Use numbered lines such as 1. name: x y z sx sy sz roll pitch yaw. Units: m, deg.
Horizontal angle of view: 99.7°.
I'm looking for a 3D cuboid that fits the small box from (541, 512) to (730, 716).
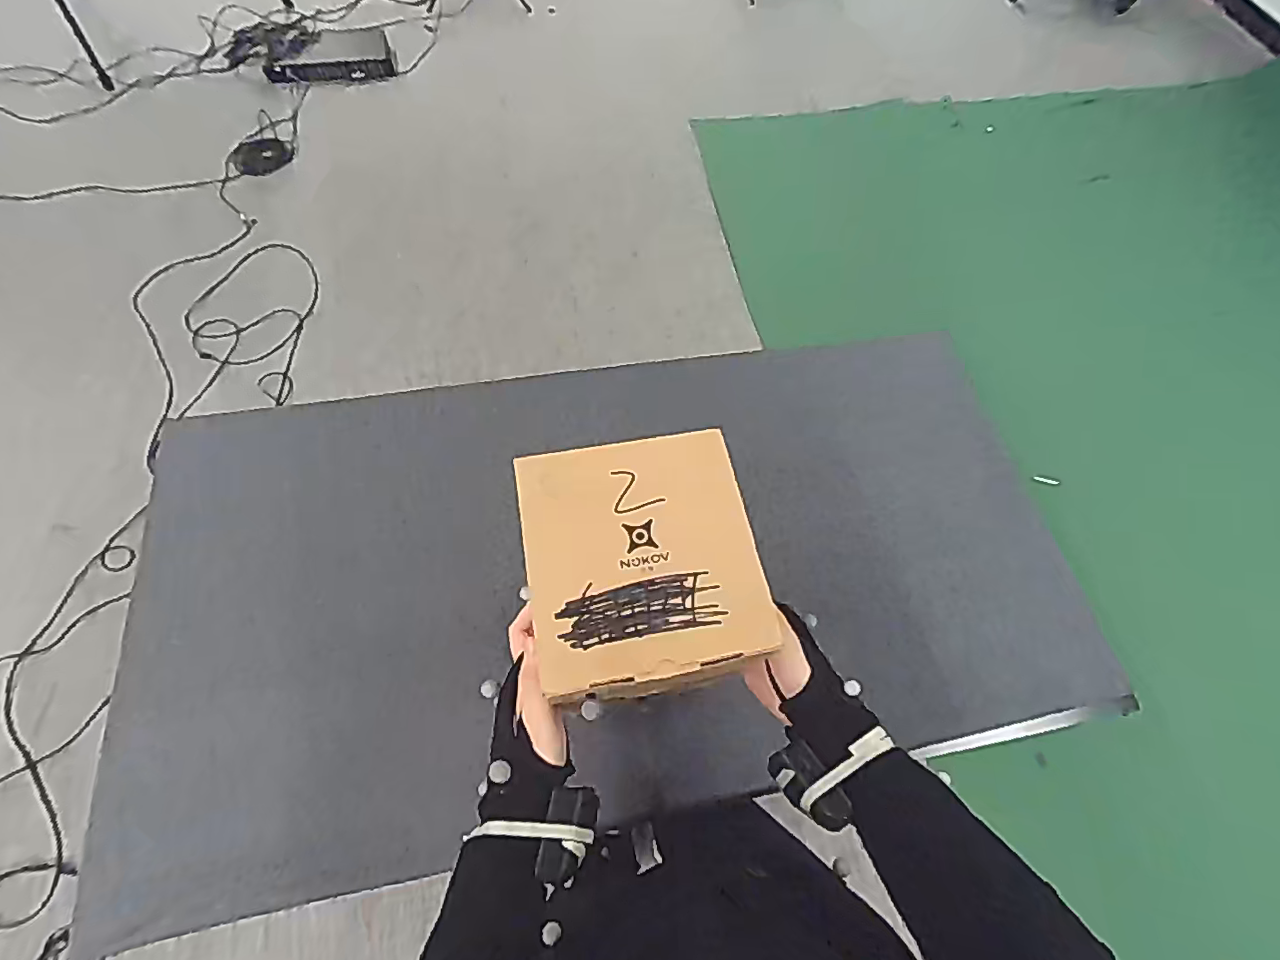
1. small box: -0.014 0.157 0.610 0.168 0.176 0.179 -9 66 -7
